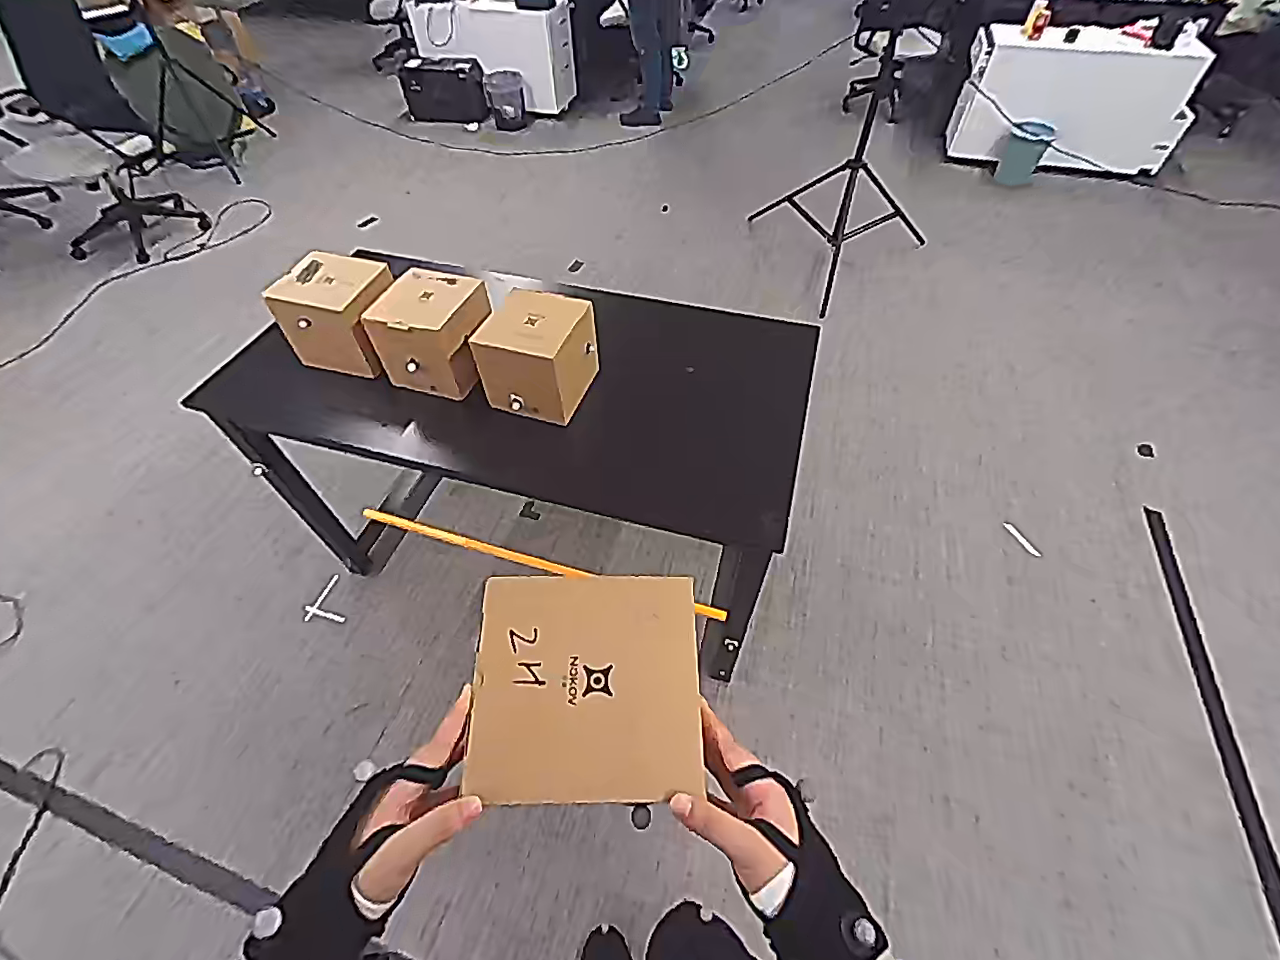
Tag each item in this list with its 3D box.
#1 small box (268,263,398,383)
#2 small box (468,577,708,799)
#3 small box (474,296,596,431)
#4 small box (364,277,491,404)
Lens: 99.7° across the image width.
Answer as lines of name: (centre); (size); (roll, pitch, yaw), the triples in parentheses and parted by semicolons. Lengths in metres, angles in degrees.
small box: (-0.610, -0.325, 1.131); (0.179, 0.176, 0.168); (12, 53, 9)
small box: (-0.040, 0.195, 0.497); (0.179, 0.176, 0.168); (0, 60, -2)
small box: (-0.190, -0.224, 1.046); (0.168, 0.176, 0.179); (13, 54, 13)
small box: (-0.405, -0.278, 1.090); (0.168, 0.176, 0.179); (13, 54, 12)
